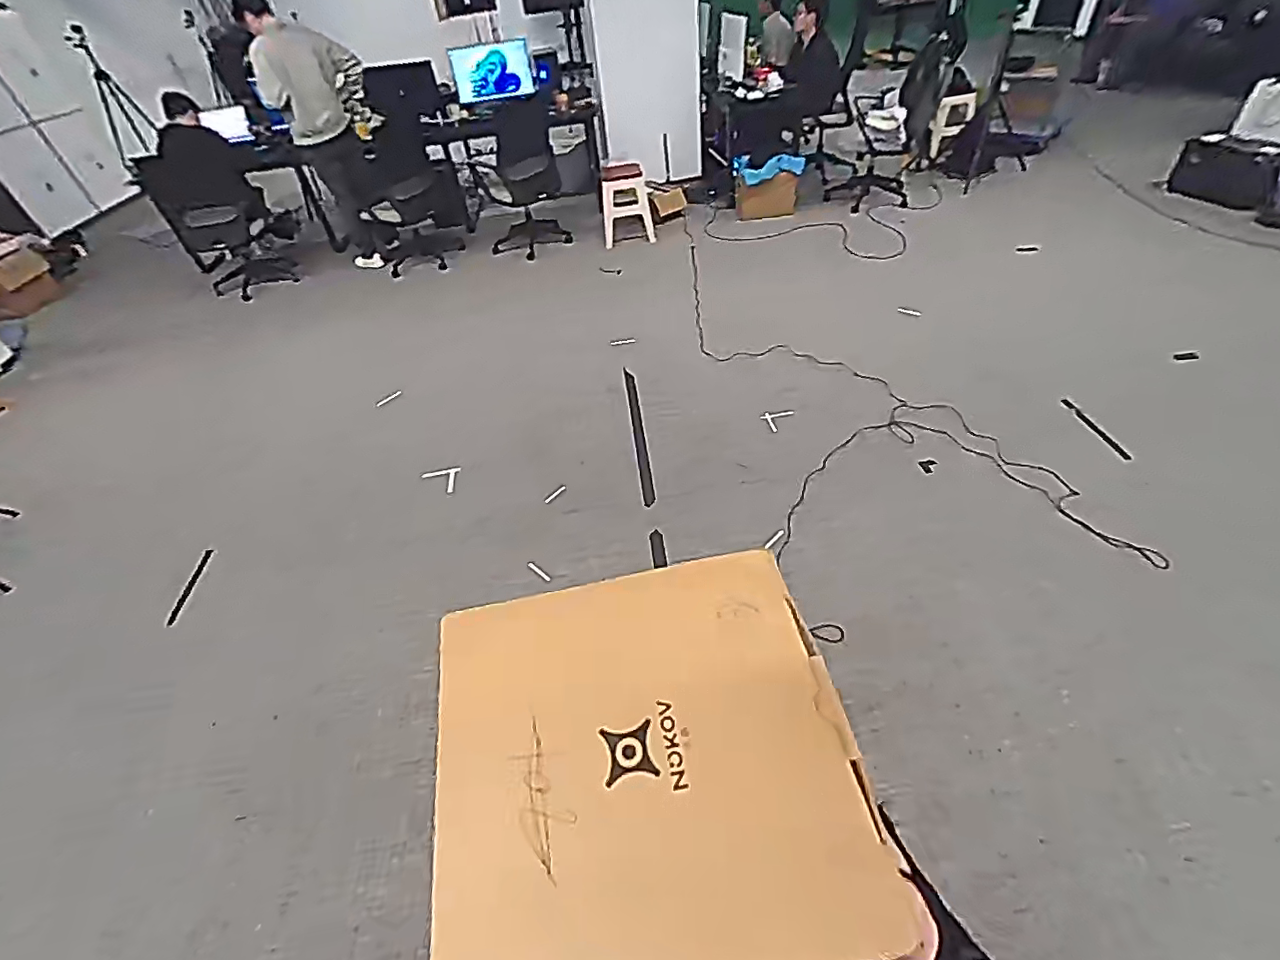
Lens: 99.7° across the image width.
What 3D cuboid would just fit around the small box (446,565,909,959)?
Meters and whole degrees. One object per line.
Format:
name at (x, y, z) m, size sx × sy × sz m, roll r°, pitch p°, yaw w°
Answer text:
small box at (0.008, 0.172, 0.304) m, size 0.179 × 0.176 × 0.168 m, roll -12°, pitch 52°, yaw -2°
